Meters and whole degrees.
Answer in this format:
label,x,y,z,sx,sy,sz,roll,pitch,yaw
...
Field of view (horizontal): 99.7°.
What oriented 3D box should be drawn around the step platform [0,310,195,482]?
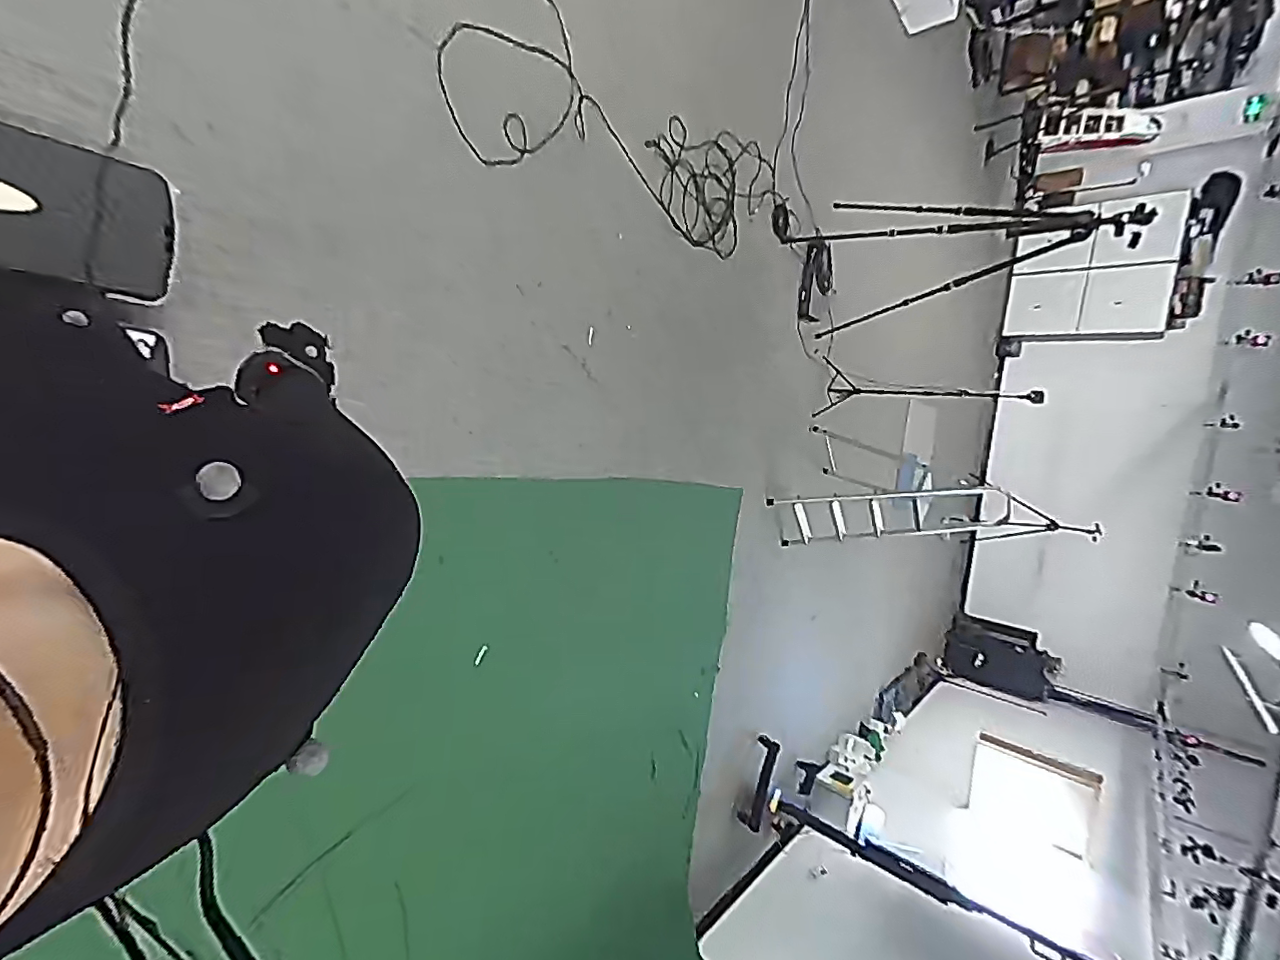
label,x,y,z,sx,sy,sz,roll,pitch,yaw
step platform,-1.148,-0.152,0.841,0.684,0.204,0.286,1,97,-50
